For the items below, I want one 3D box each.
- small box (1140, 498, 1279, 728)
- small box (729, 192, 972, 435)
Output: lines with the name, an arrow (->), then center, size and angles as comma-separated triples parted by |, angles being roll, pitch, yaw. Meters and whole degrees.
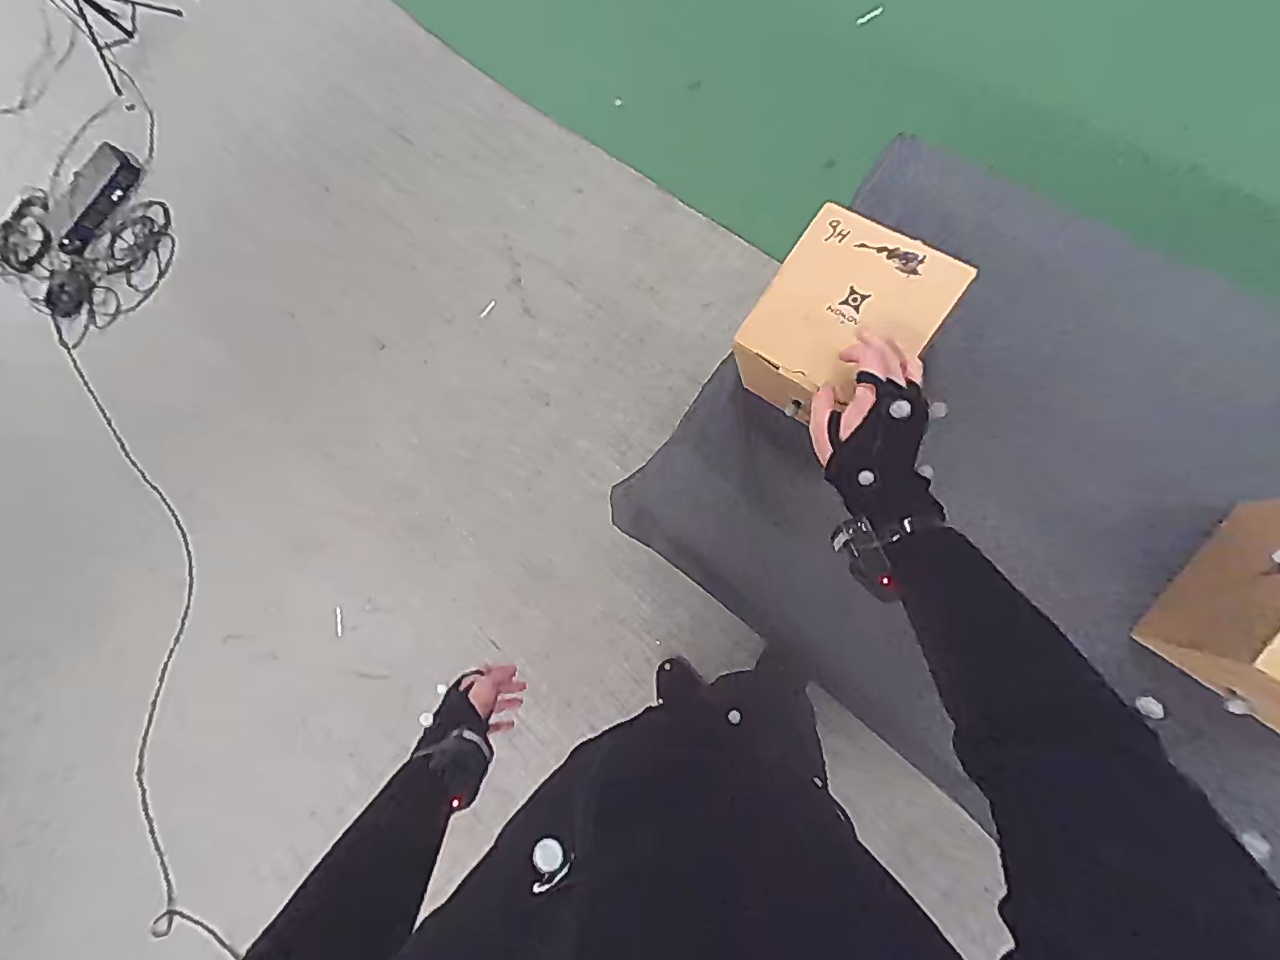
small box -> 0.602, 0.123, 0.463 | 0.168, 0.176, 0.179 | 38, 96, 17
small box -> 0.226, -0.171, 0.611 | 0.168, 0.176, 0.179 | 36, 94, 17
